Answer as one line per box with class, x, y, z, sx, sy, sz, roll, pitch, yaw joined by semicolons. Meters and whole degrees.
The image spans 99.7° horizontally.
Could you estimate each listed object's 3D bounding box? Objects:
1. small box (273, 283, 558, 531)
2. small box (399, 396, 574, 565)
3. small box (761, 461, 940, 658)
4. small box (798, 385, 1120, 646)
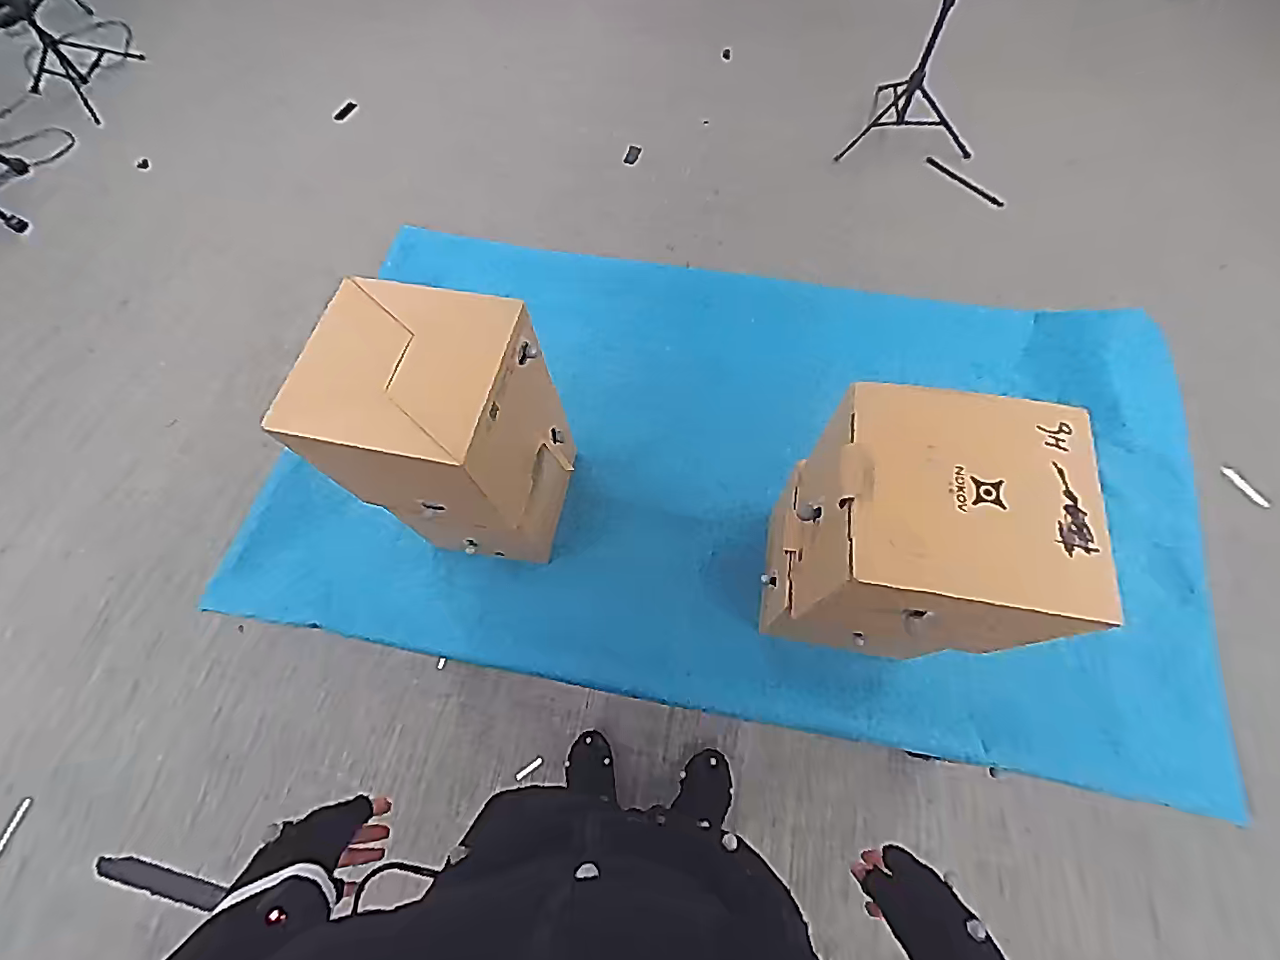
small box;-0.199;-0.065;0.527;0.179;0.176;0.168;11;67;7
small box;-0.190;-0.009;0.685;0.168;0.176;0.179;11;69;9
small box;0.240;0.098;0.612;0.179;0.176;0.168;9;67;7
small box;0.238;0.040;0.460;0.179;0.176;0.168;6;67;5
